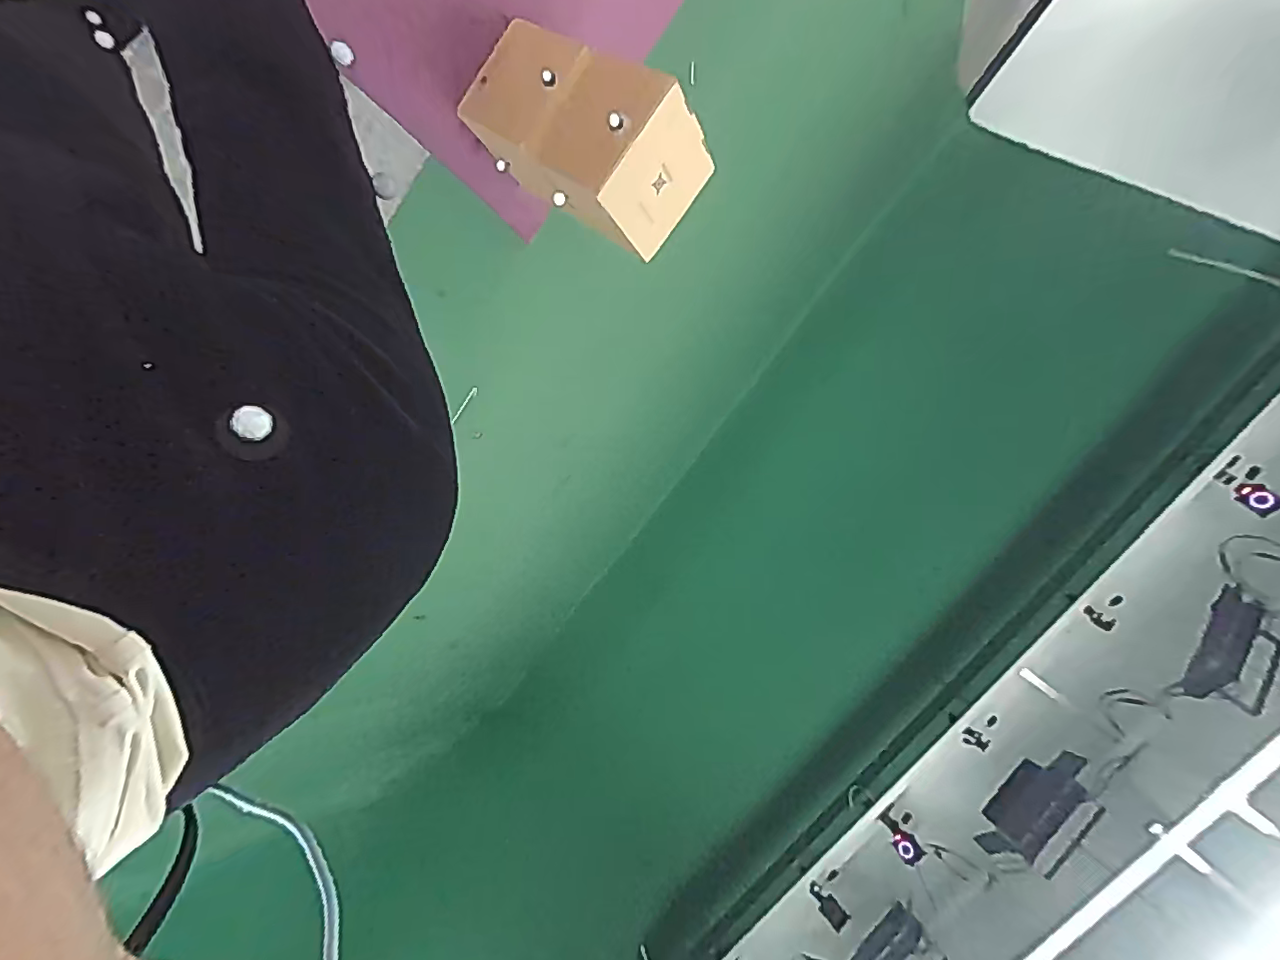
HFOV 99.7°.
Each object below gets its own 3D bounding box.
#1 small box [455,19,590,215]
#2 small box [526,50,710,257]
[{"bbox_3d":[-0.149,-0.570,0.855,0.168,0.176,0.179,-53,157,7],"label":"small box"},{"bbox_3d":[-0.033,-0.475,0.791,0.179,0.176,0.168,-52,154,7],"label":"small box"}]
